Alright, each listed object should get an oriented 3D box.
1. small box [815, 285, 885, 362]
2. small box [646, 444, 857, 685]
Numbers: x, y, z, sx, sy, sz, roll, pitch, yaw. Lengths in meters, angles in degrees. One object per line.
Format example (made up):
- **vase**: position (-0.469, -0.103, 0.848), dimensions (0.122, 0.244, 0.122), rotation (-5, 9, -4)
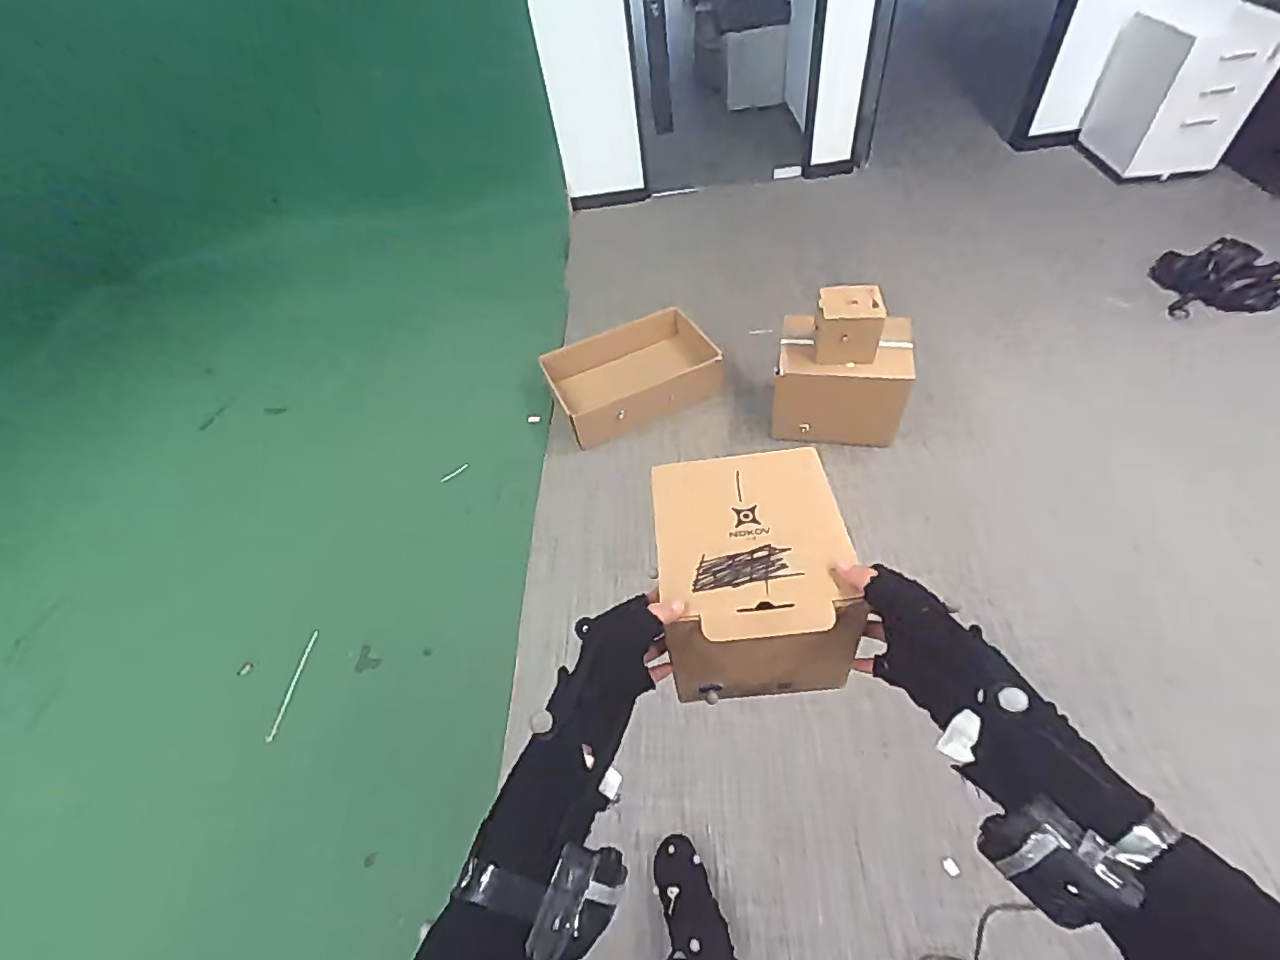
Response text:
- **small box**: position (0.640, -0.479, 1.671), dimensions (0.179, 0.176, 0.168), rotation (1, 52, 10)
- **small box**: position (0.100, 0.090, 0.540), dimensions (0.168, 0.176, 0.179), rotation (-7, 45, 4)
